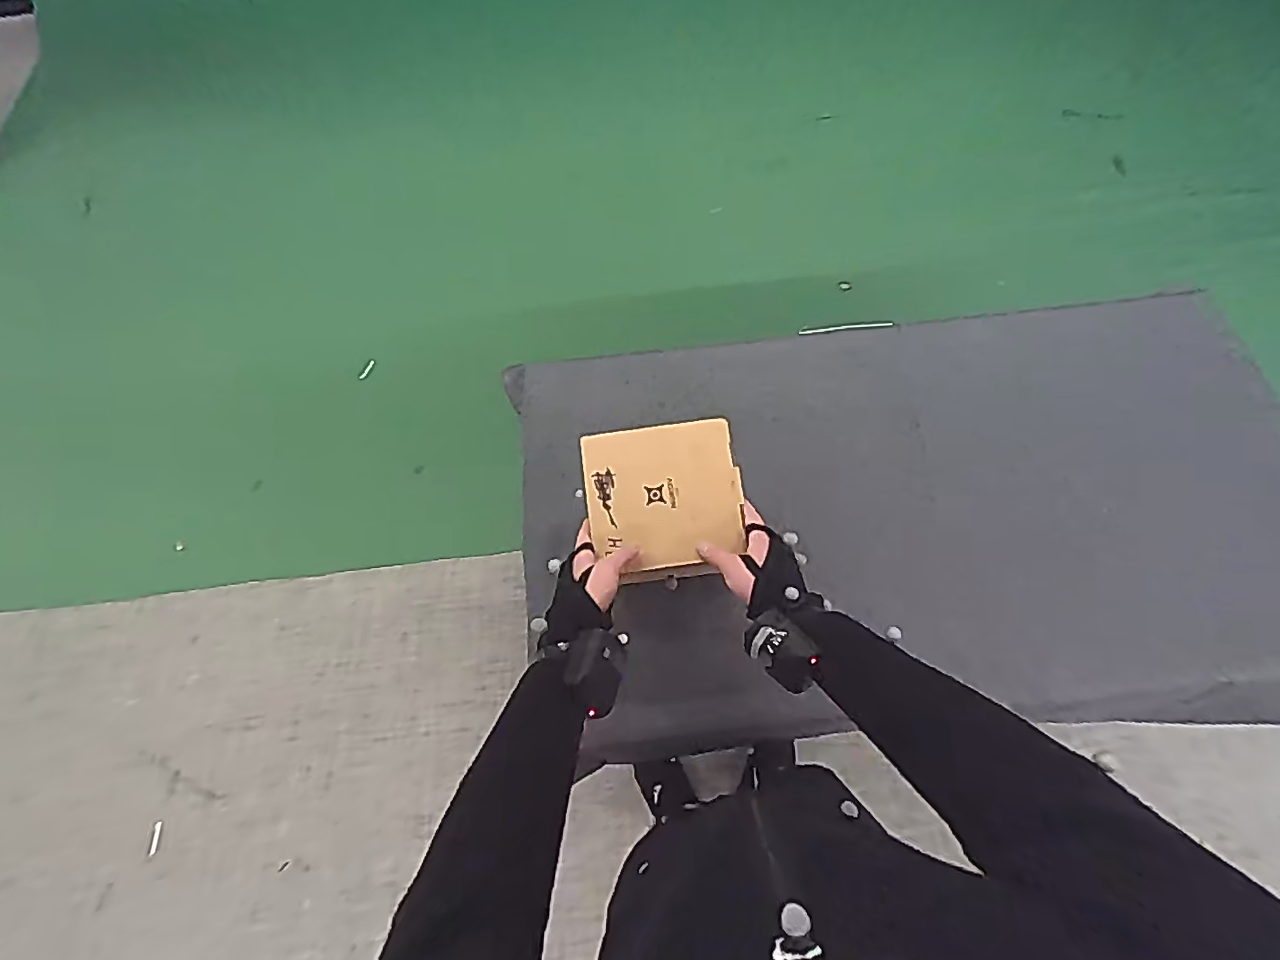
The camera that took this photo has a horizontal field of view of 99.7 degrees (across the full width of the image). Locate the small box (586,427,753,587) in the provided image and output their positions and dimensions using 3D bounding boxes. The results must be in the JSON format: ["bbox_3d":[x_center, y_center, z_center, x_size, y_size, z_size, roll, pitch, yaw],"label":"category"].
[{"bbox_3d":[0.031,0.043,0.693,0.179,0.176,0.168,-7,75,-1],"label":"small box"}]
